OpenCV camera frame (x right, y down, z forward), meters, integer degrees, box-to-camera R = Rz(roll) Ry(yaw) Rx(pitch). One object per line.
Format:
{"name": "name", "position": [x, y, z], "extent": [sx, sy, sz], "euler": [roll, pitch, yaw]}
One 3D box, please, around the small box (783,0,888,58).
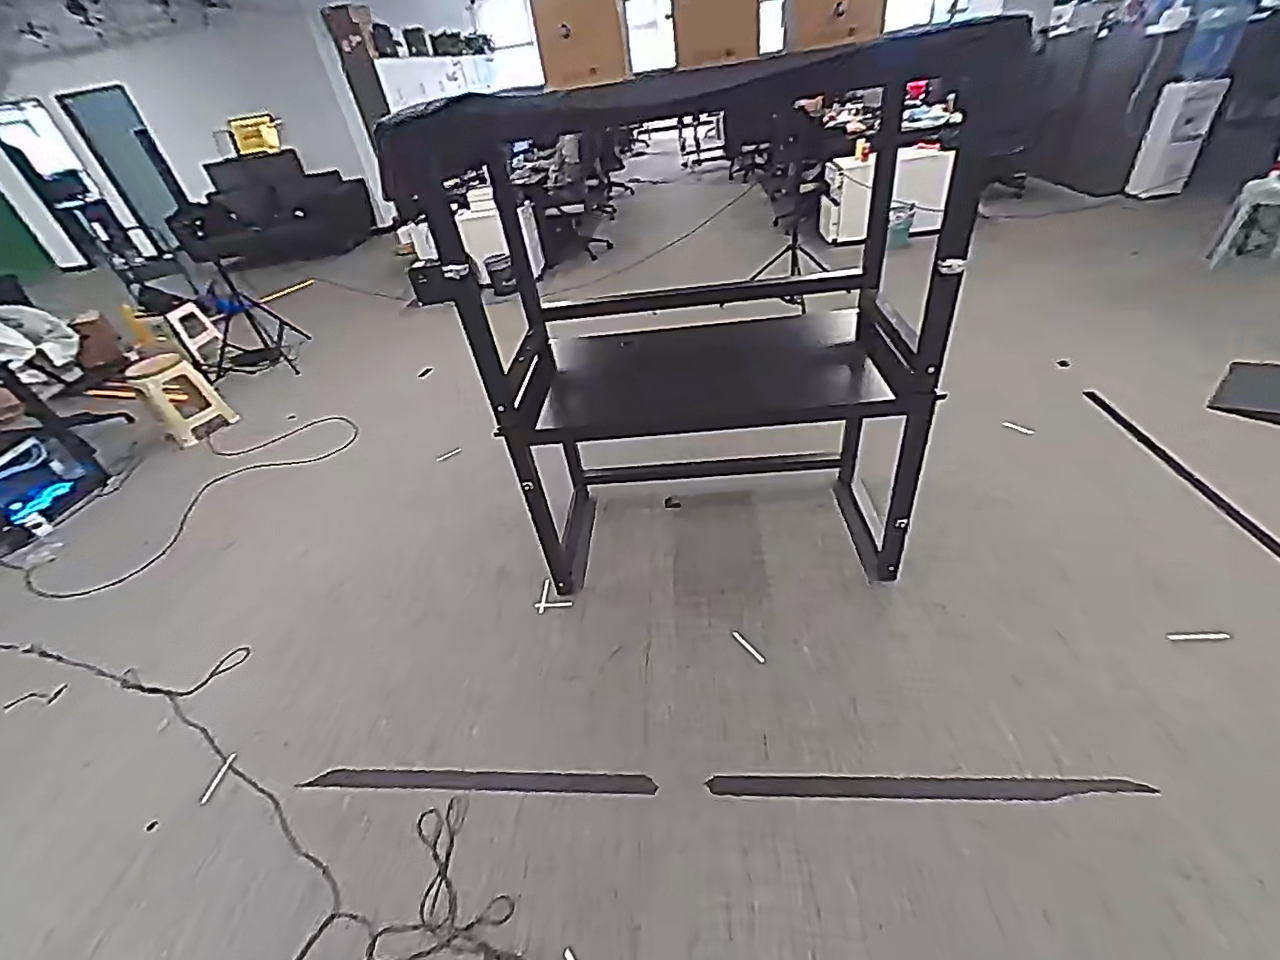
{"name": "small box", "position": [0.363, -0.915, 1.021], "extent": [0.168, 0.176, 0.179], "euler": [-4, 37, 9]}

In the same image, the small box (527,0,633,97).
{"name": "small box", "position": [-0.111, -0.893, 1.099], "extent": [0.168, 0.176, 0.179], "euler": [-2, 37, 9]}
